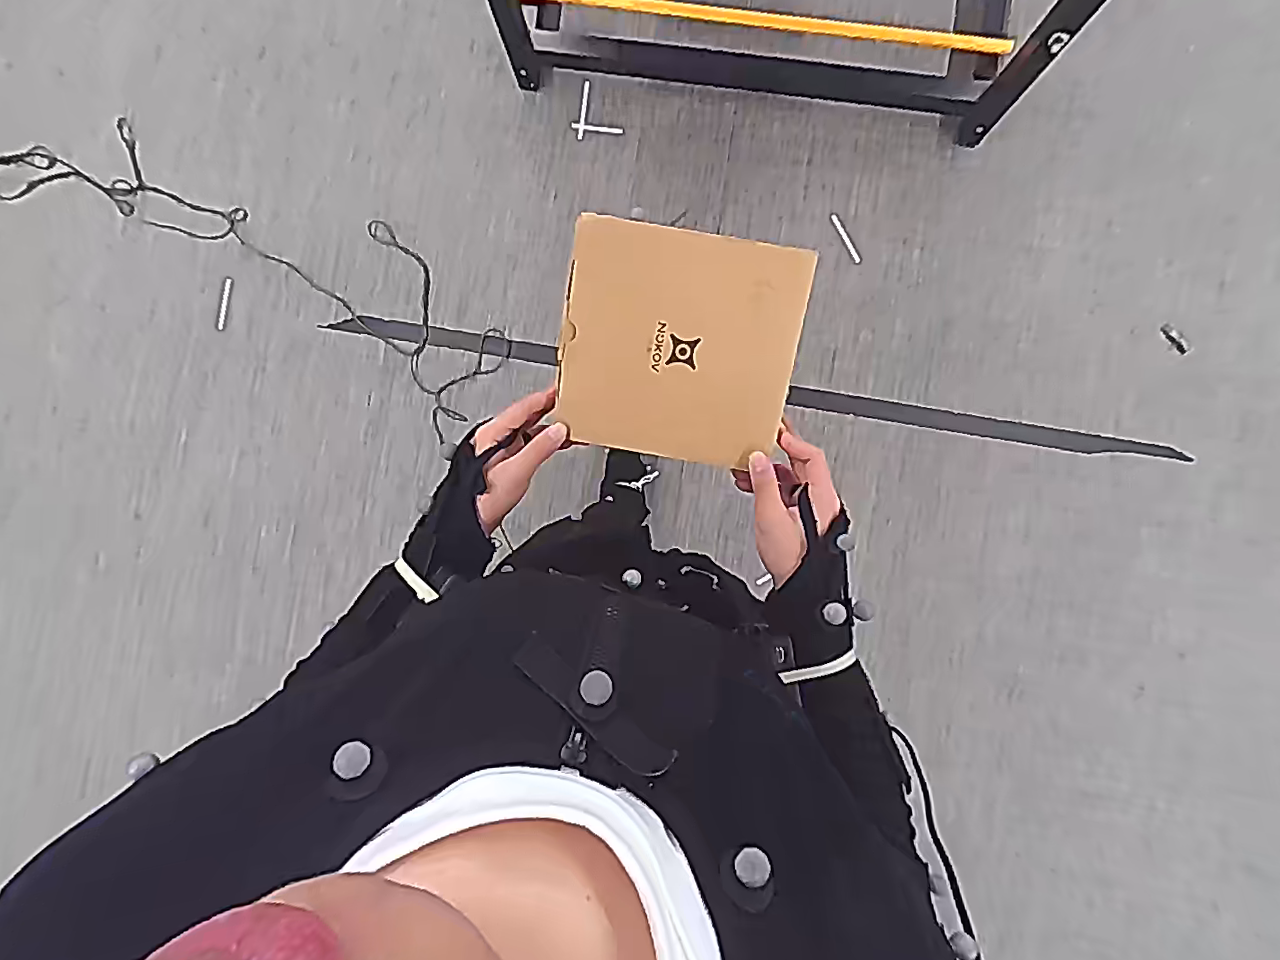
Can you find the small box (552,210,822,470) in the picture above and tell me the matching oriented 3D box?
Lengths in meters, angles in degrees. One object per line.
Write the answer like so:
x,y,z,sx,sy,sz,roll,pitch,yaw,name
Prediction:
0.035,-0.119,0.475,0.179,0.176,0.168,10,104,3,small box
